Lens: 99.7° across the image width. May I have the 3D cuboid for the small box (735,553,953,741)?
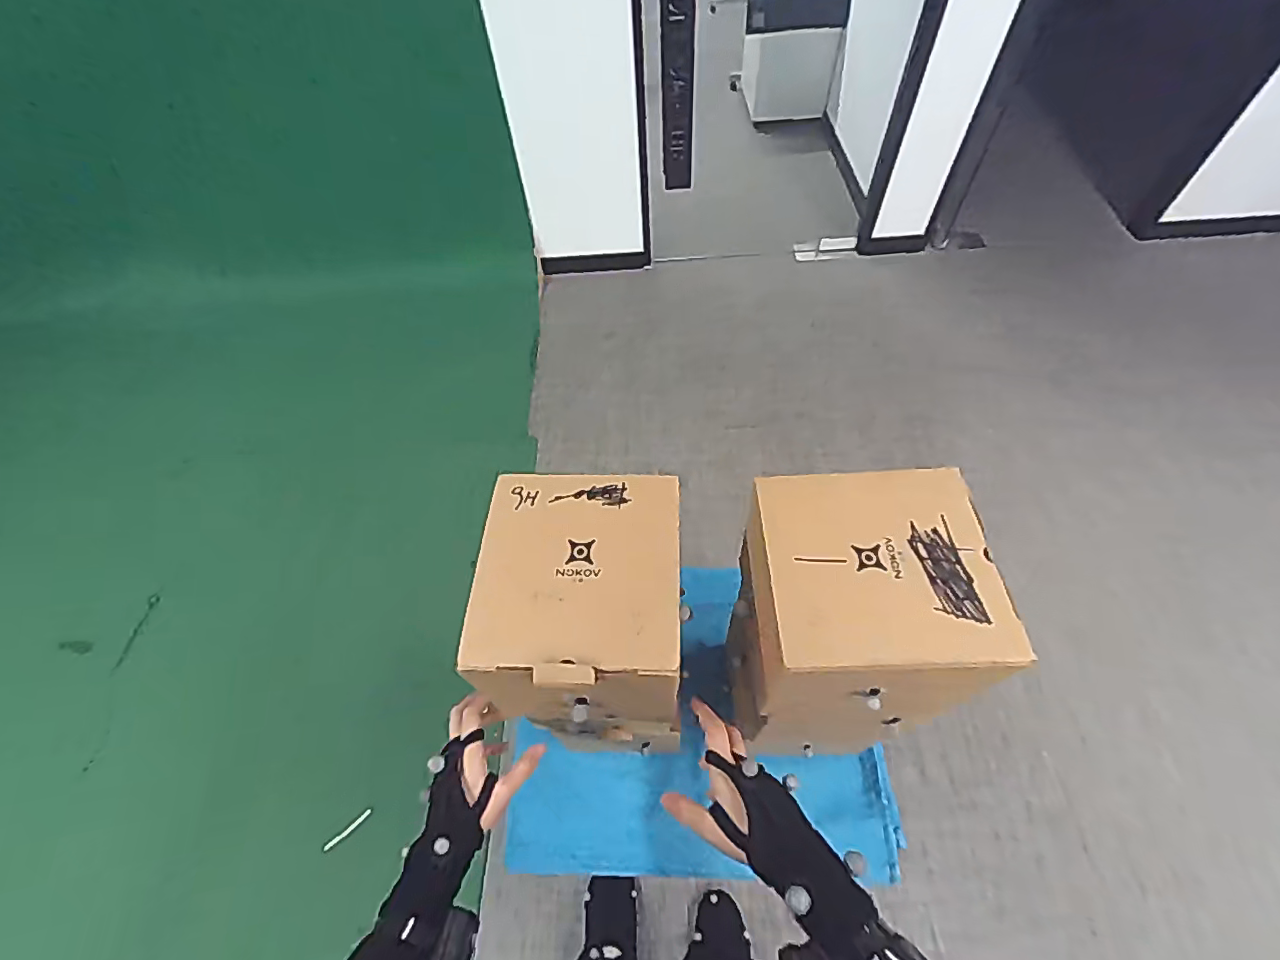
[{"bbox_3d":[0.211,0.194,0.617,0.179,0.176,0.168,-3,55,2],"label":"small box"}]

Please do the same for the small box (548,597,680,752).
[{"bbox_3d":[-0.026,0.282,0.774,0.168,0.176,0.179,1,55,3],"label":"small box"}]
